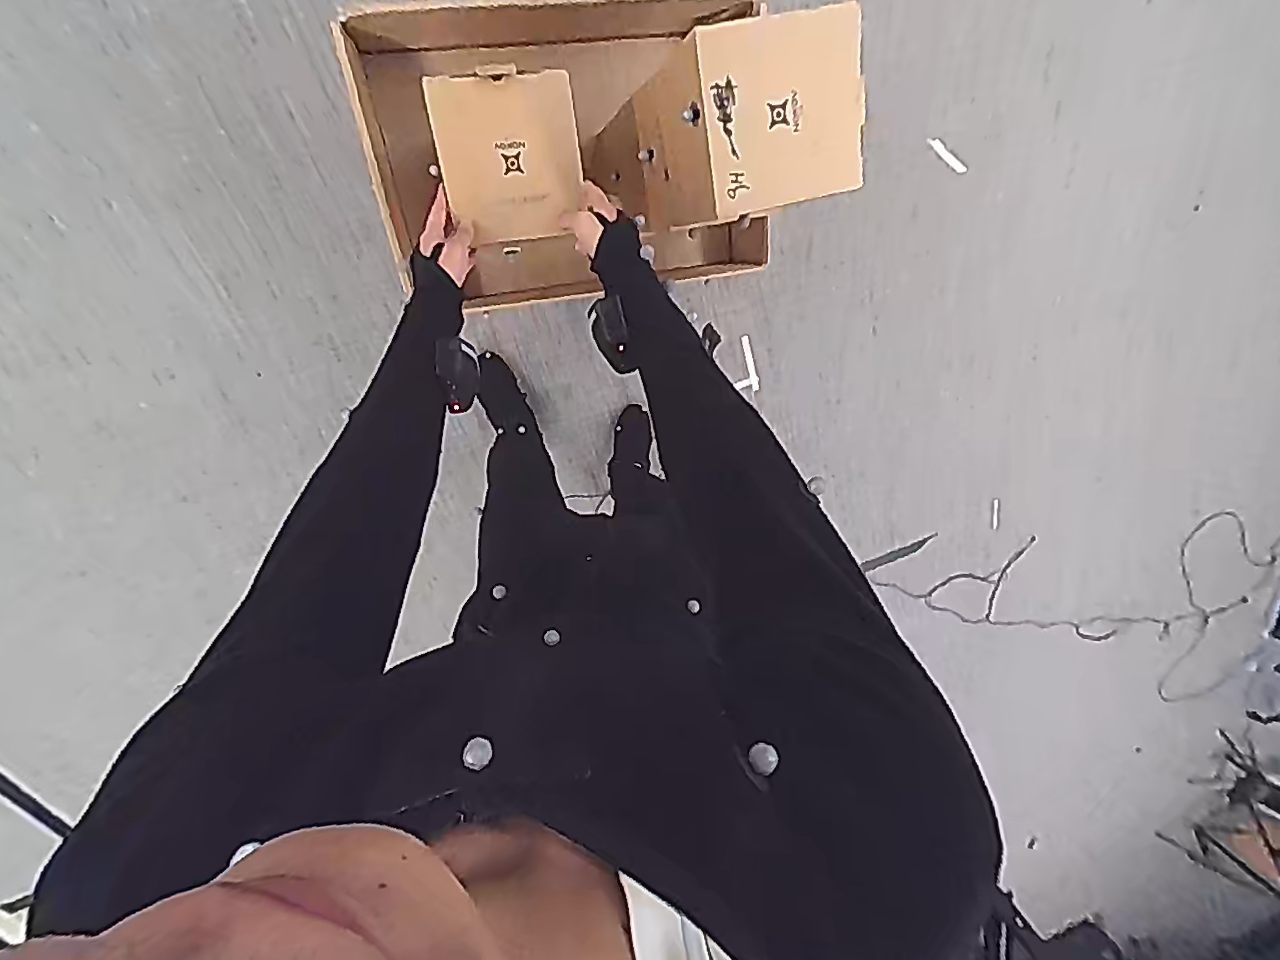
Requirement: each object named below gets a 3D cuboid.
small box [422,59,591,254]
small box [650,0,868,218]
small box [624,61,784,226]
[{"bbox_3d":[-0.168,-0.399,0.692,0.168,0.176,0.179,-11,109,-11],"label":"small box"},{"bbox_3d":[0.126,-0.400,0.602,0.179,0.176,0.168,-16,114,-9],"label":"small box"},{"bbox_3d":[0.084,-0.458,0.750,0.168,0.176,0.179,-14,114,-9],"label":"small box"}]
